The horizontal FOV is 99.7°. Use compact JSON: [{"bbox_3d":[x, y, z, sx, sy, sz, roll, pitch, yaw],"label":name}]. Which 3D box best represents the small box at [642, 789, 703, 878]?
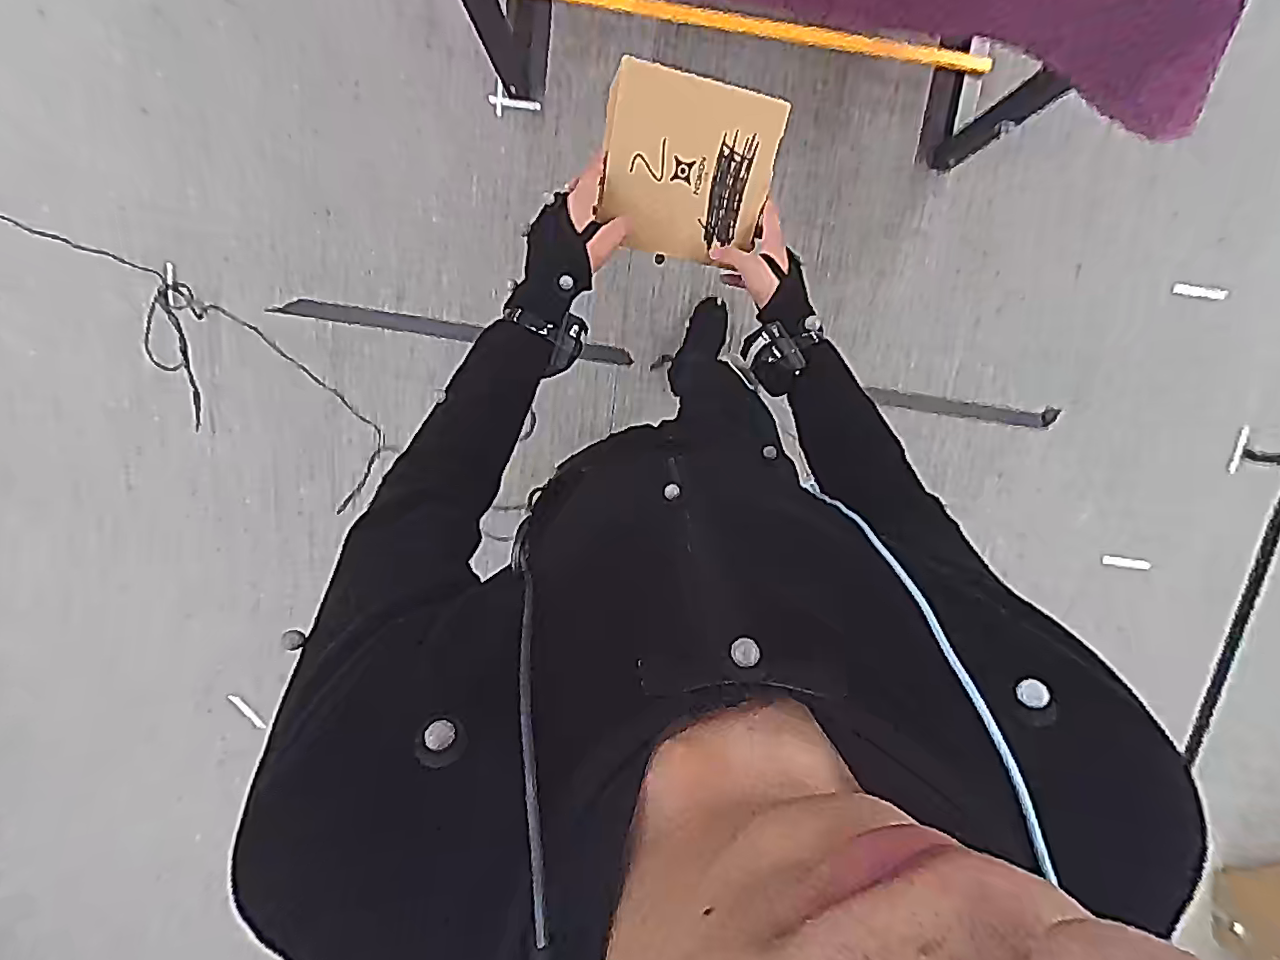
[{"bbox_3d":[0.100,1.159,1.782,0.168,0.176,0.179,9,102,-3],"label":"small box"}]
